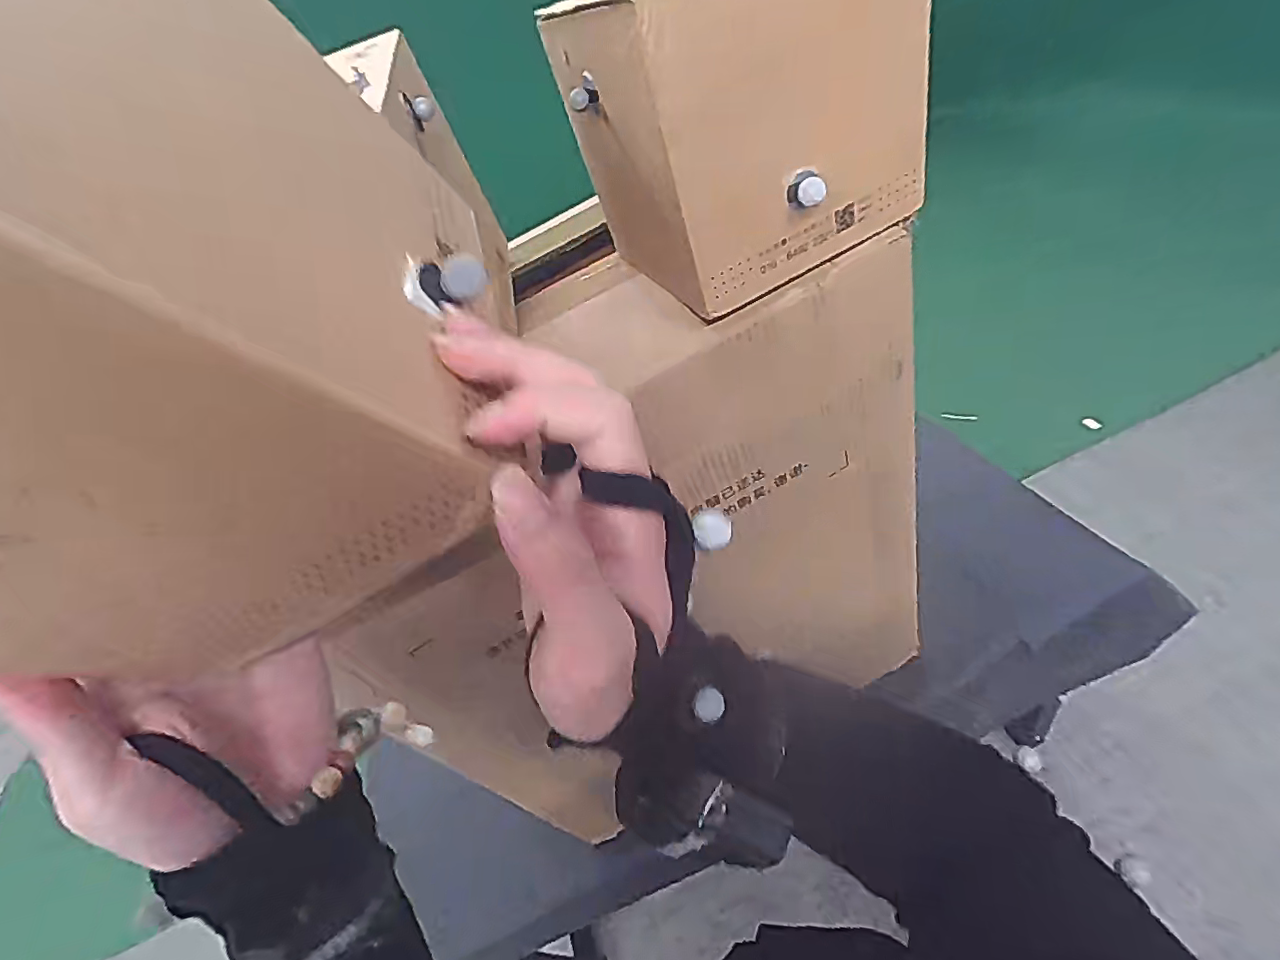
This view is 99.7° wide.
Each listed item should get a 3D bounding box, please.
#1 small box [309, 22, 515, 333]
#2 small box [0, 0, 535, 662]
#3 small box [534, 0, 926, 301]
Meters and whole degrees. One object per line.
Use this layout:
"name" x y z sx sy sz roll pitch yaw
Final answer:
"small box" -0.212 -0.181 0.399 0.179 0.176 0.168 -19 54 6
"small box" -0.165 -0.046 0.183 0.179 0.176 0.168 -29 62 16
"small box" 0.055 -0.244 0.354 0.168 0.176 0.179 -29 44 -3
